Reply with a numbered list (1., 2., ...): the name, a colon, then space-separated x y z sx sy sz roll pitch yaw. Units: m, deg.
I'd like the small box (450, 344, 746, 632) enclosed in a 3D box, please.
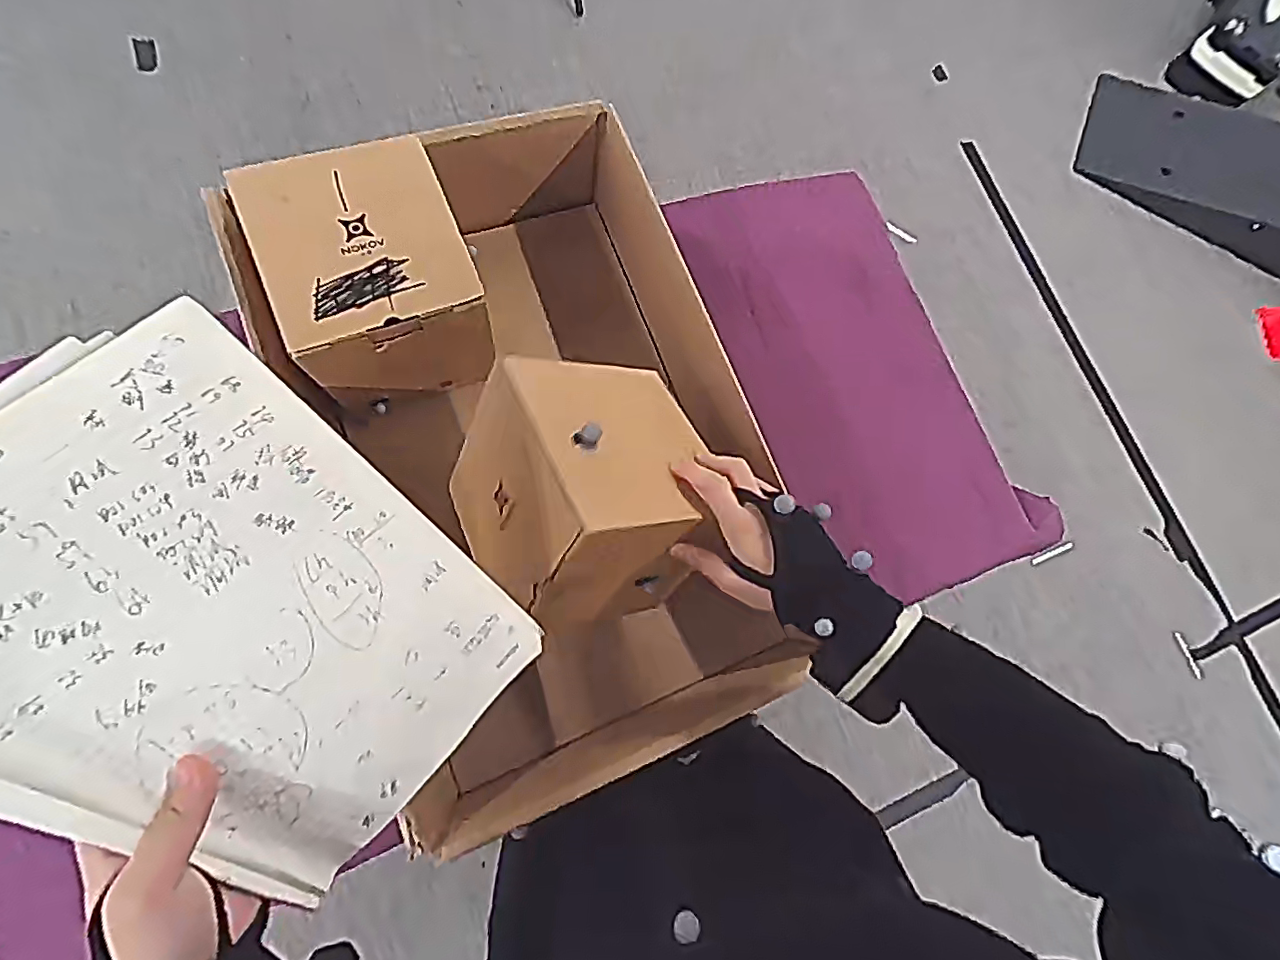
1. small box: -0.043 0.009 0.484 0.176 0.168 0.179 -1 53 -42
